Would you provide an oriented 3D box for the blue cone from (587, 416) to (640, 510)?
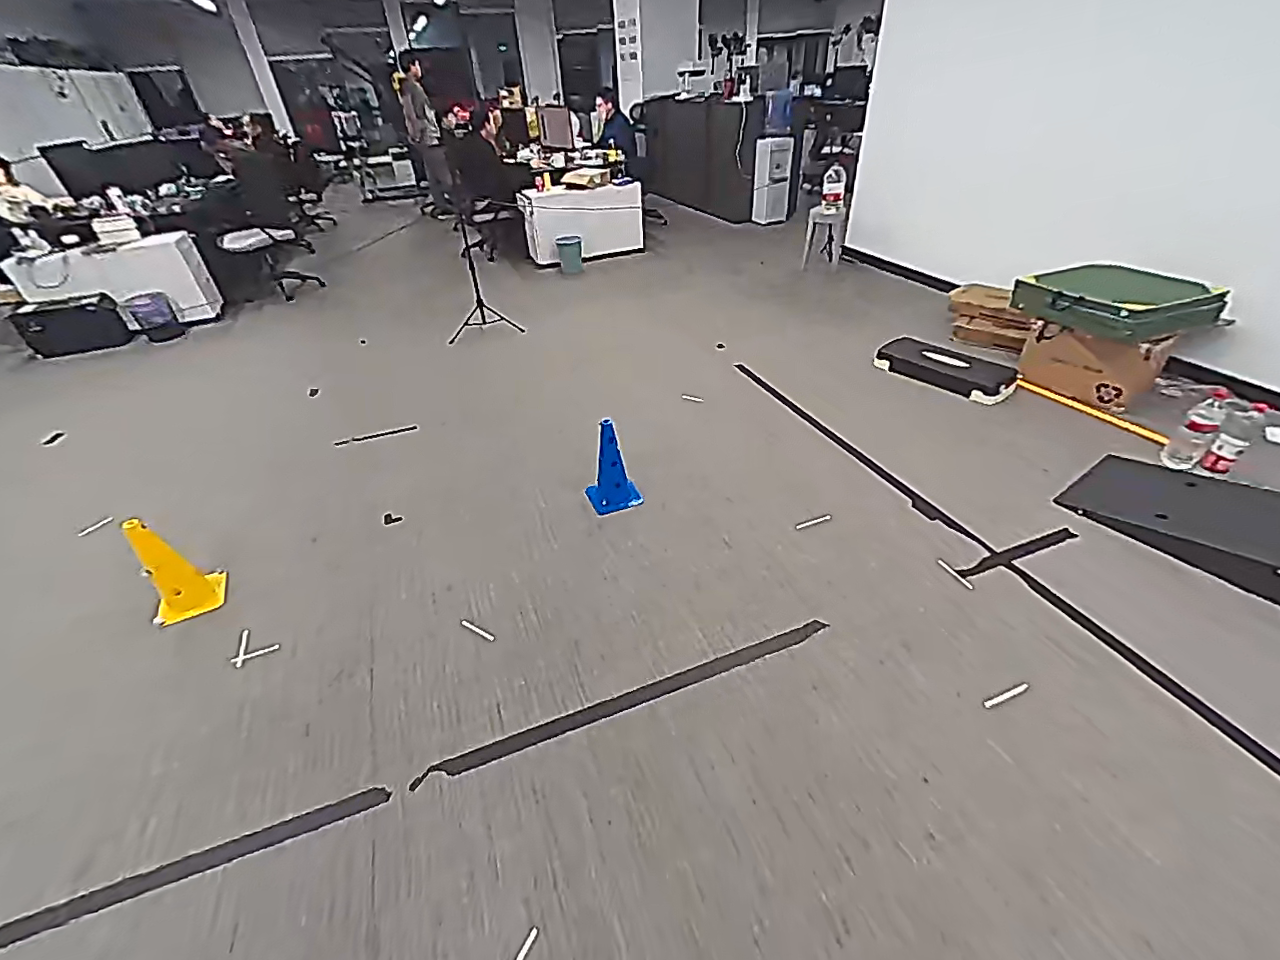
[{"bbox_3d":[-0.118,-0.078,2.139,0.193,0.380,0.192,-15,37,-14],"label":"blue cone"}]
